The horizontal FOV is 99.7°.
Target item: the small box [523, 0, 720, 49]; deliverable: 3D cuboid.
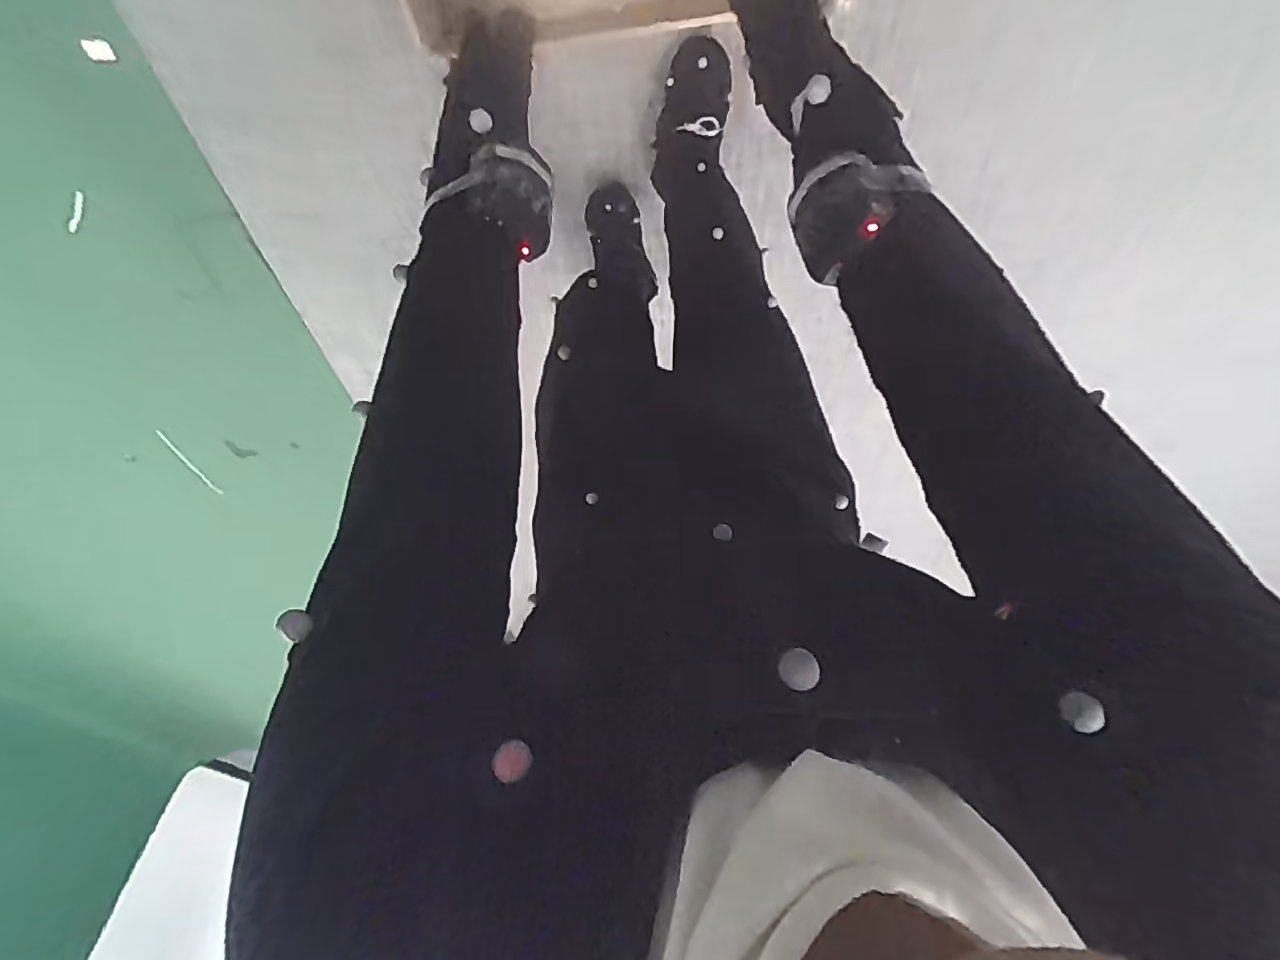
[{"bbox_3d":[-0.025,-0.510,0.462,0.179,0.176,0.168,-8,139,10],"label":"small box"}]
